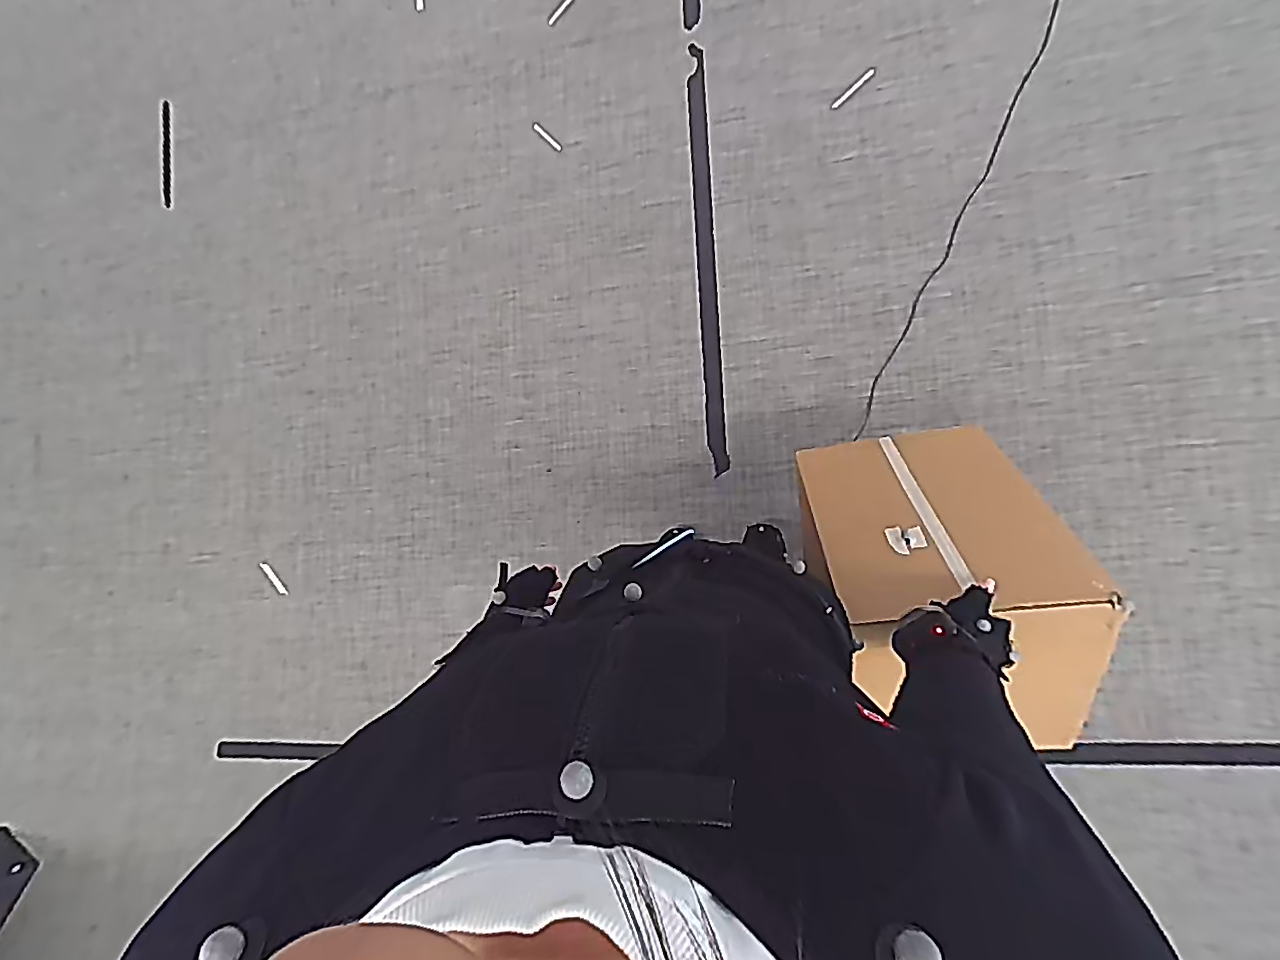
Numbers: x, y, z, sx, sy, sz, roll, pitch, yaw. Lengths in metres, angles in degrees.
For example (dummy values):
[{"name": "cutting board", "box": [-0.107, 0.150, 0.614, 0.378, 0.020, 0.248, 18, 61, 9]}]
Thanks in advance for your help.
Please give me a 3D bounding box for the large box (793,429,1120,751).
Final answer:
[{"name": "large box", "box": [0.449, 0.167, 0.886, 0.320, 0.408, 0.320, -9, 125, 12]}]
